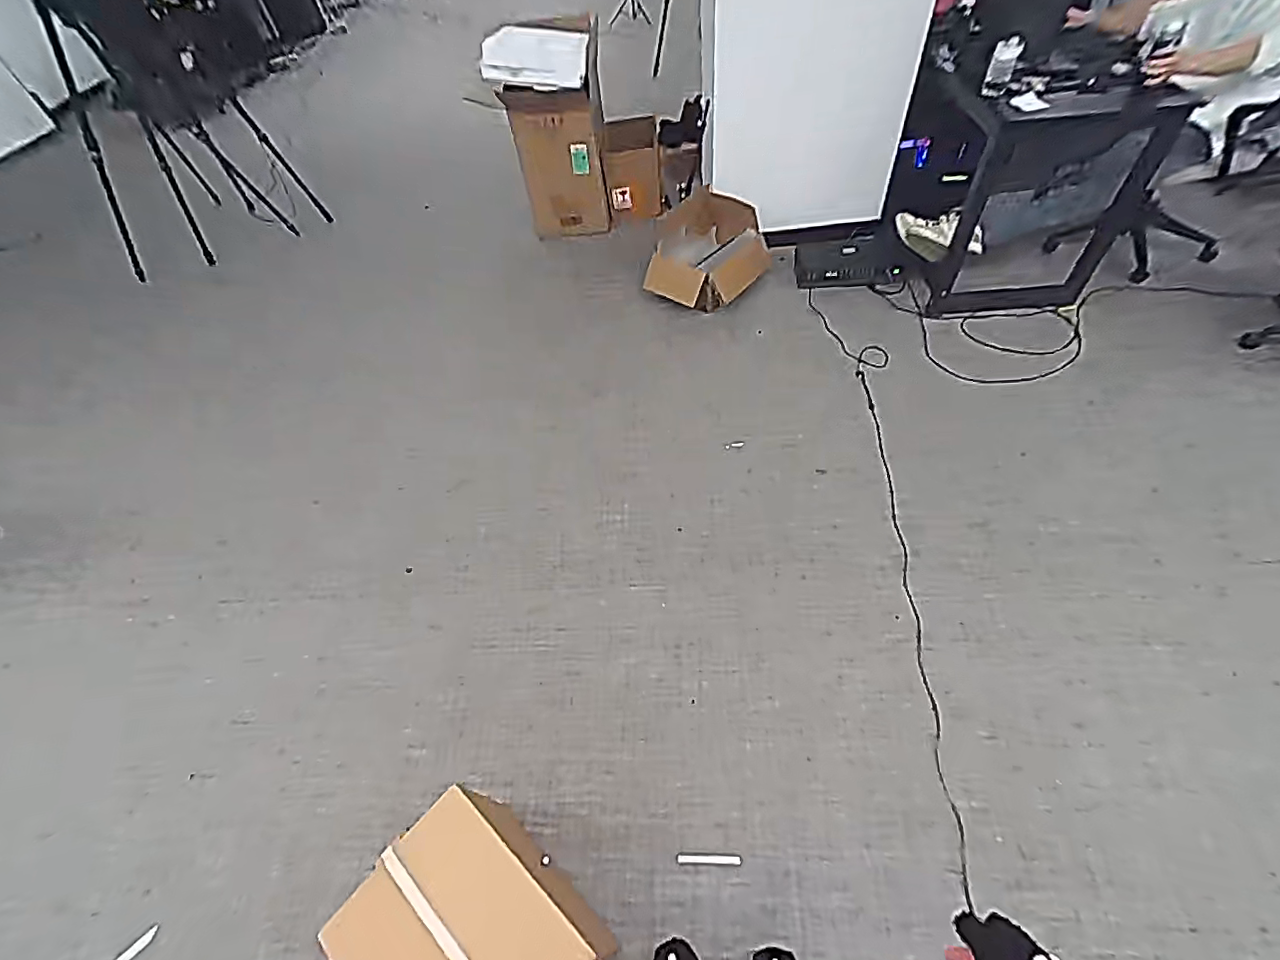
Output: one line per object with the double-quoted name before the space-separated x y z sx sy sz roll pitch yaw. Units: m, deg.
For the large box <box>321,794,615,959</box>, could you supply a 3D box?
"large box" -0.308 0.904 1.050 0.408 0.320 0.320 31 62 27
